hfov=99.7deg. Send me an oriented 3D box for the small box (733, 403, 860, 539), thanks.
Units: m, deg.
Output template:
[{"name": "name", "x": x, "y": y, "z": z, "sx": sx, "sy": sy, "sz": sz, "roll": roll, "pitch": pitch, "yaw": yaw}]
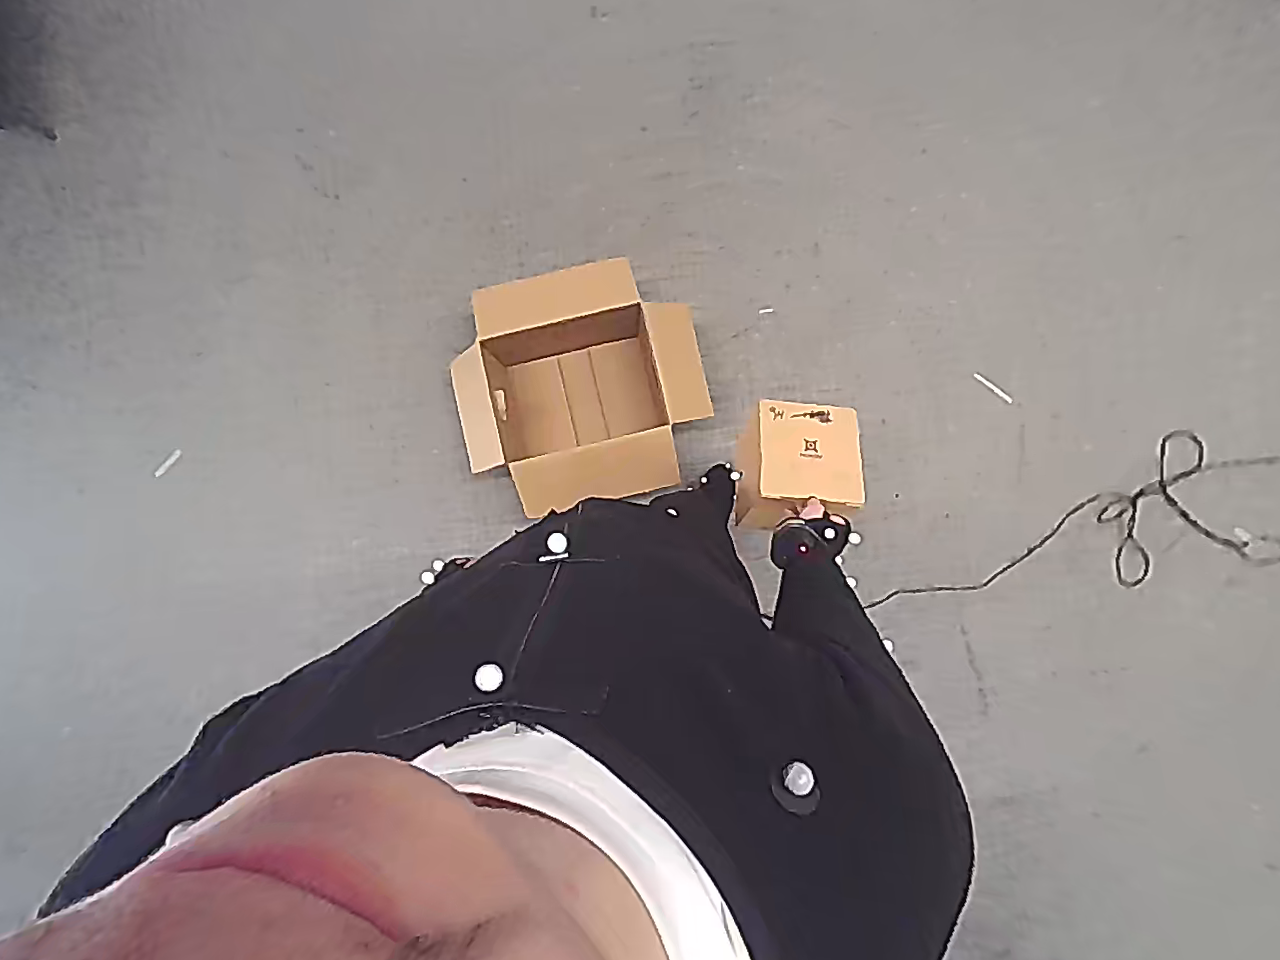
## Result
[{"name": "small box", "x": 0.262, "y": -0.007, "z": 0.935, "sx": 0.168, "sy": 0.176, "sz": 0.179, "roll": 8, "pitch": 66, "yaw": -2}]
